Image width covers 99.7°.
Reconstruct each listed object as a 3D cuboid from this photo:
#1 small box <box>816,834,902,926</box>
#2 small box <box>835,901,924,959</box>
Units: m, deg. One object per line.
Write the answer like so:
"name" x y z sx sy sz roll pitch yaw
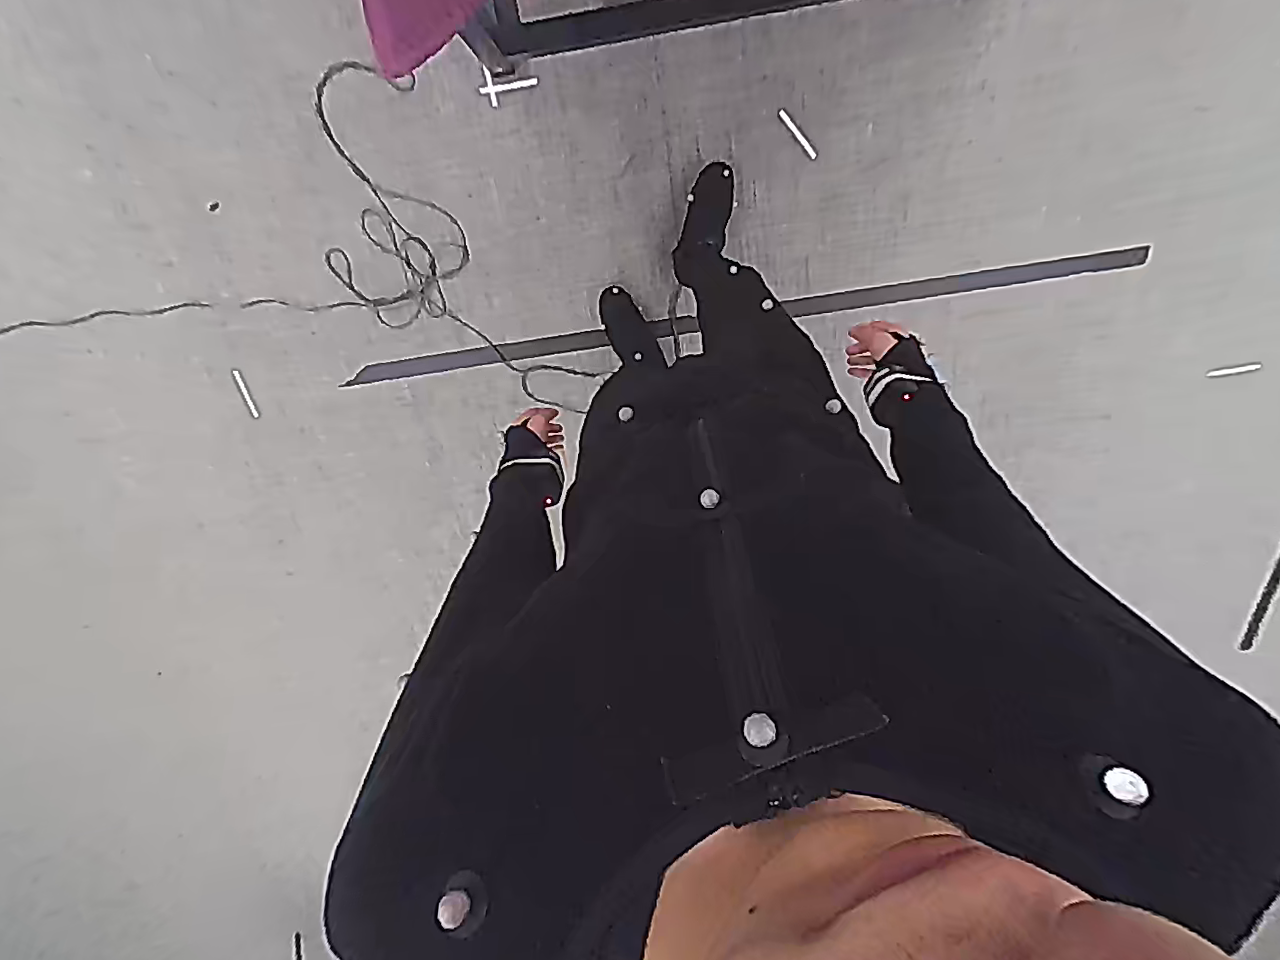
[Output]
"small box" 0.618 1.145 1.543 0.179 0.176 0.168 -9 115 1
"small box" 0.617 1.228 1.403 0.168 0.176 0.179 -8 116 0
